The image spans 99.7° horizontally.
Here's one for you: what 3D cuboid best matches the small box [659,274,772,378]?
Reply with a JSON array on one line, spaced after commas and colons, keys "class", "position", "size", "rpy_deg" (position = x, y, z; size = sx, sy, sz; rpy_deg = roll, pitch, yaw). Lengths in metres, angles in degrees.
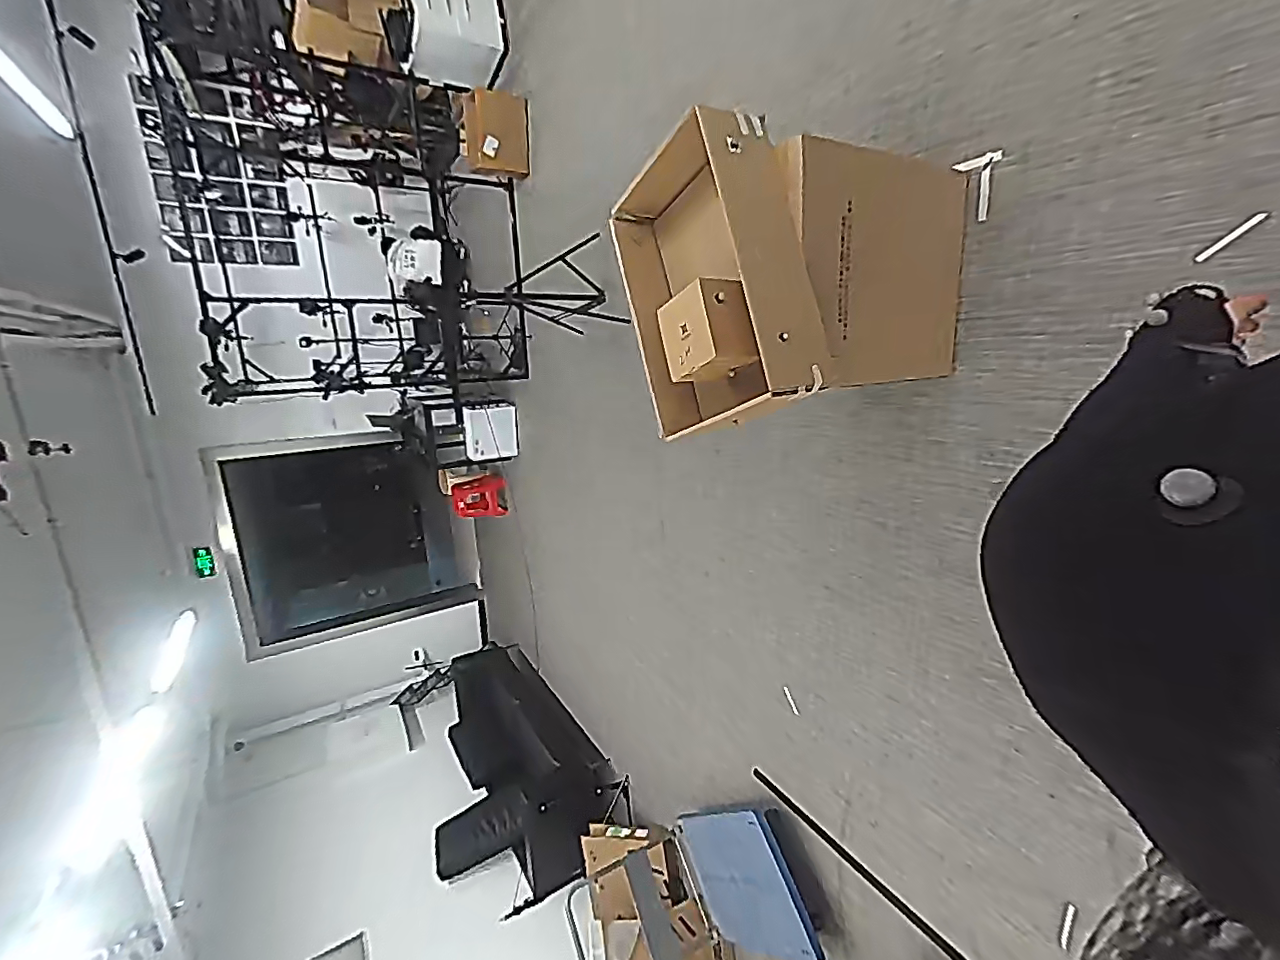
[{"class": "small box", "position": [0.169, -0.338, 1.211], "size": [0.168, 0.176, 0.179], "rpy_deg": [-17, 84, 59]}]
